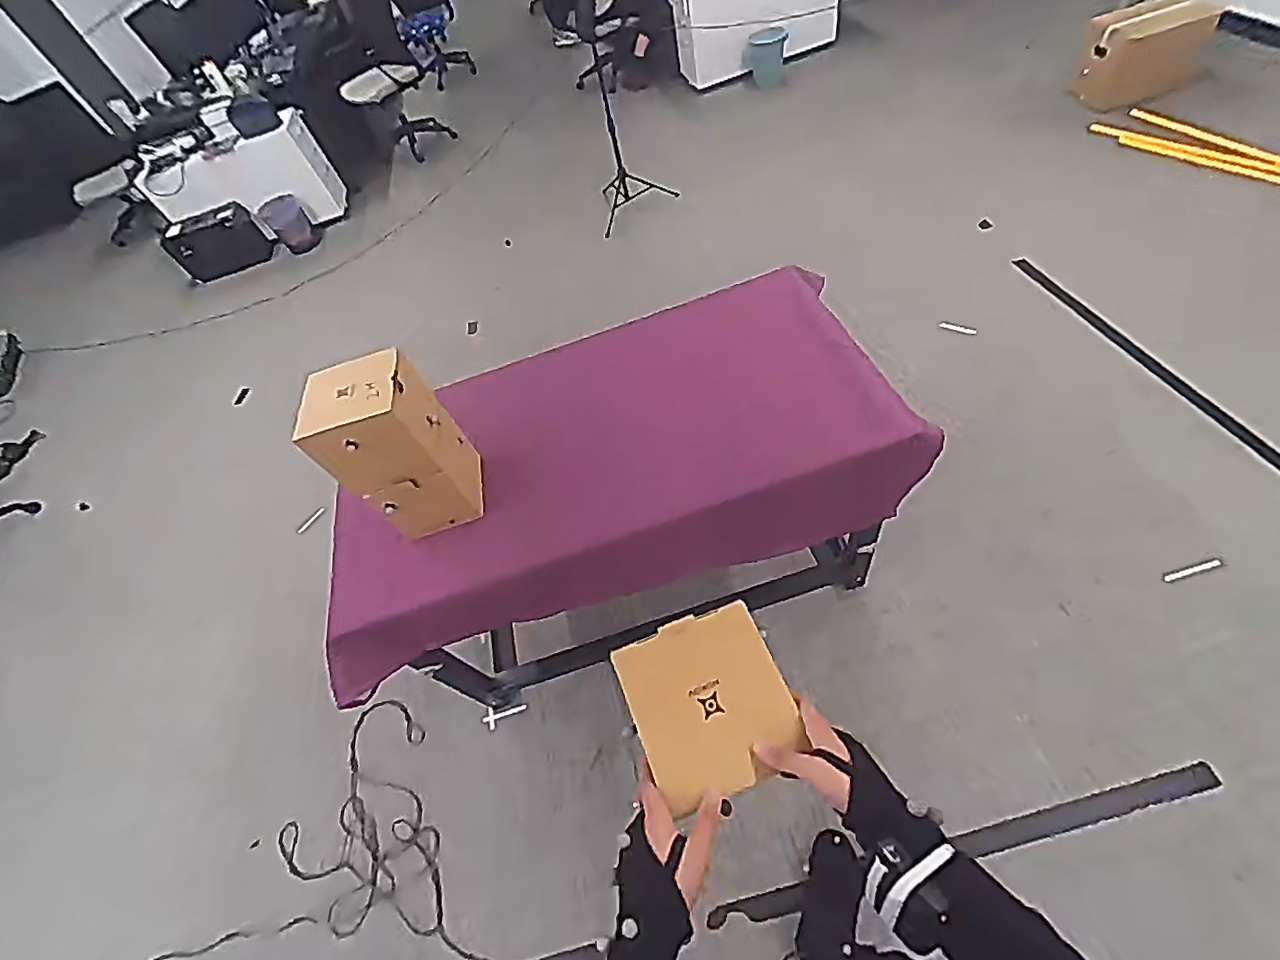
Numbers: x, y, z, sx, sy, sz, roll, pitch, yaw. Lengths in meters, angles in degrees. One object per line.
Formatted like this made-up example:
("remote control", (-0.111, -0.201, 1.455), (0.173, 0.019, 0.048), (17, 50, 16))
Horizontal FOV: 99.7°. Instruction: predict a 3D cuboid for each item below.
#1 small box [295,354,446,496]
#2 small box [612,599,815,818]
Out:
("small box", (-0.478, -0.094, 0.986), (0.179, 0.176, 0.168), (-16, 53, 2))
("small box", (0.080, 0.274, 0.643), (0.168, 0.176, 0.179), (-20, 58, -8))
